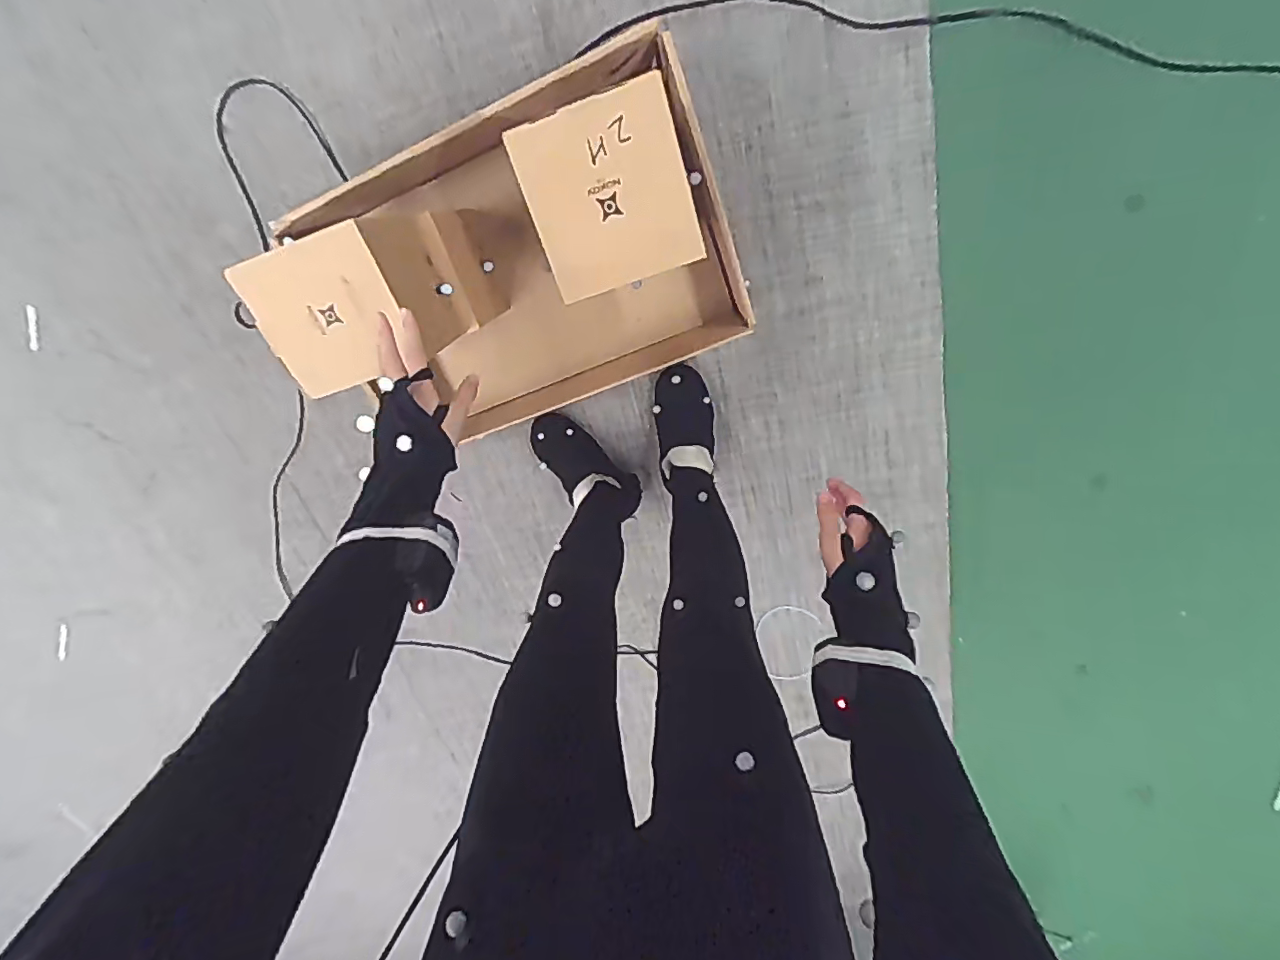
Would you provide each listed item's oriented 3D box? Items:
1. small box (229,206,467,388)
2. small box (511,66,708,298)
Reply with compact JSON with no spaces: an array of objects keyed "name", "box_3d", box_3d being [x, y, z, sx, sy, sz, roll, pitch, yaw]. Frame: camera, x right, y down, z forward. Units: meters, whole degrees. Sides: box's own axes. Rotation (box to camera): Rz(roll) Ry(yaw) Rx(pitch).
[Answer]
[{"name":"small box","box_3d":[-0.353,-0.239,0.694,0.179,0.176,0.168,-14,117,9]},{"name":"small box","box_3d":[-0.023,-0.332,0.625,0.168,0.176,0.179,-15,114,9]}]
